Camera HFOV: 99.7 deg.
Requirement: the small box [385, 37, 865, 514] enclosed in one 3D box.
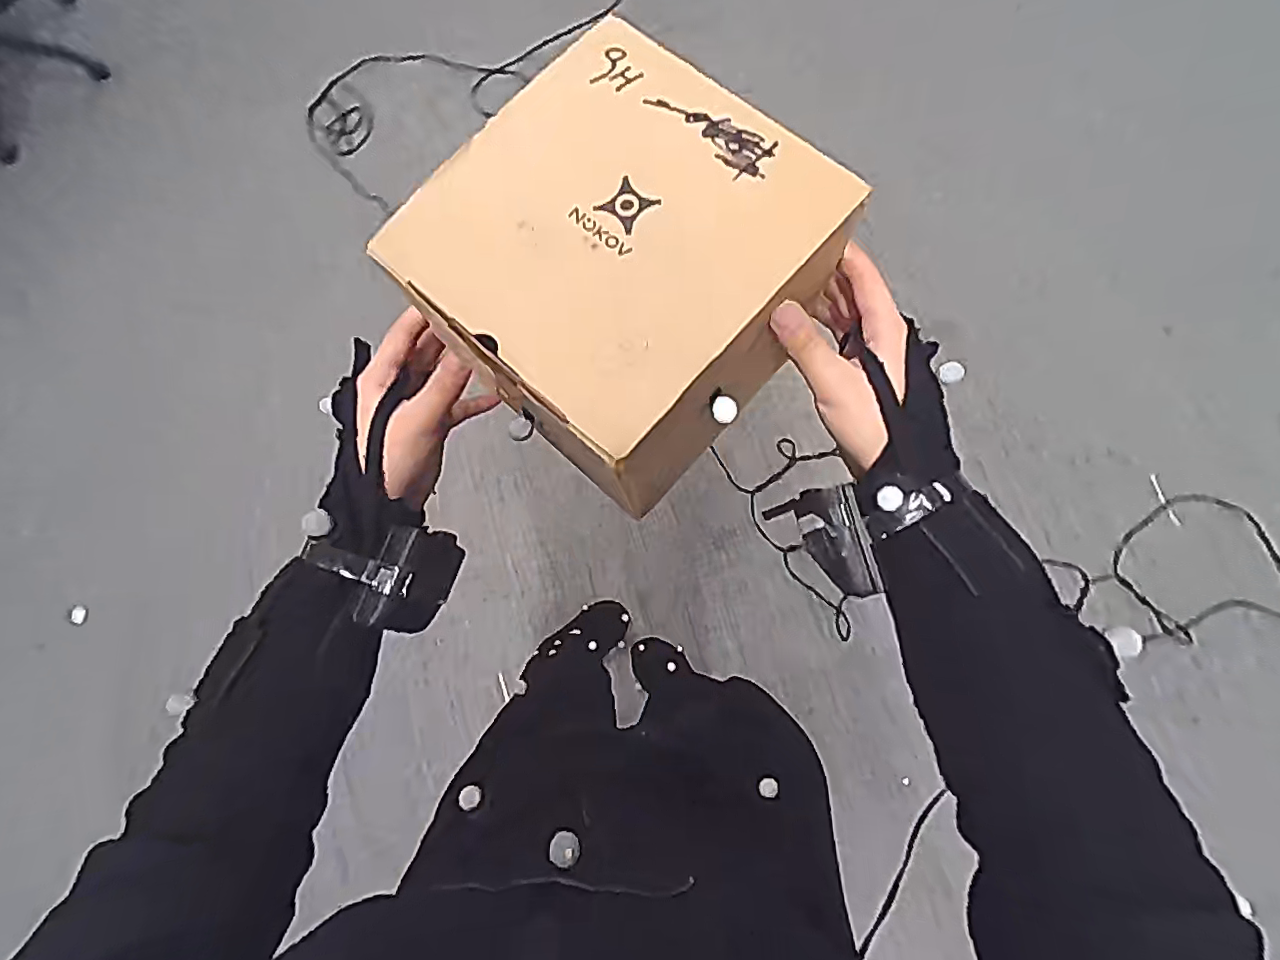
[{"bbox_3d":[-0.004,-0.099,0.334,0.168,0.176,0.179,42,84,11],"label":"small box"}]
